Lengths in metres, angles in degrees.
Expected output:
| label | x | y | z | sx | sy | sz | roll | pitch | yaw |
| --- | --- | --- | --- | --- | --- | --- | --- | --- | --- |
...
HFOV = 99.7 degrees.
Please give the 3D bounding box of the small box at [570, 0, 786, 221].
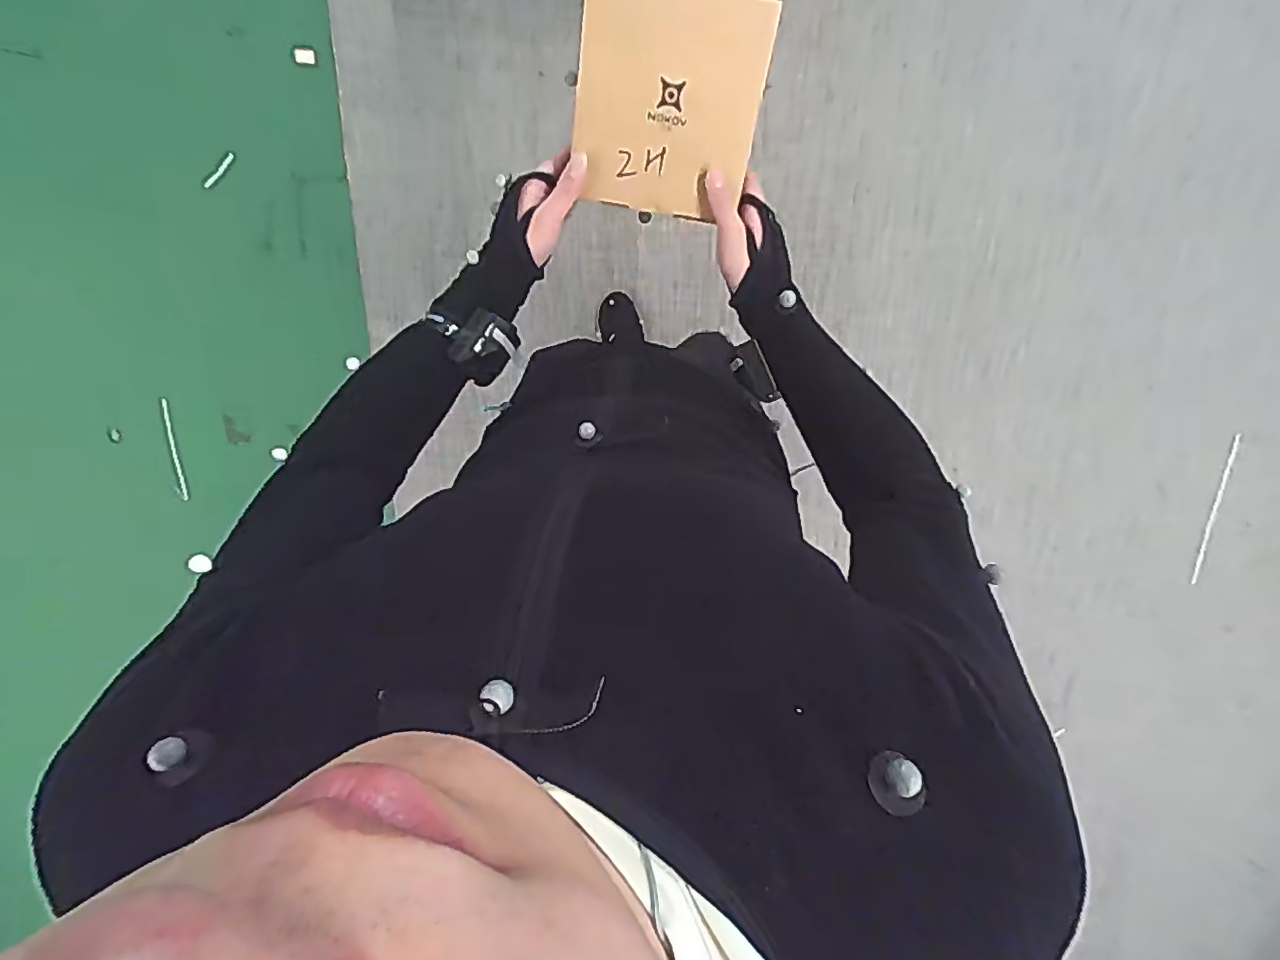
| label | x | y | z | sx | sy | sz | roll | pitch | yaw |
| --- | --- | --- | --- | --- | --- | --- | --- | --- | --- |
| small box | 0.025 | -0.378 | 0.548 | 0.168 | 0.176 | 0.179 | 8 | 119 | -6 |
